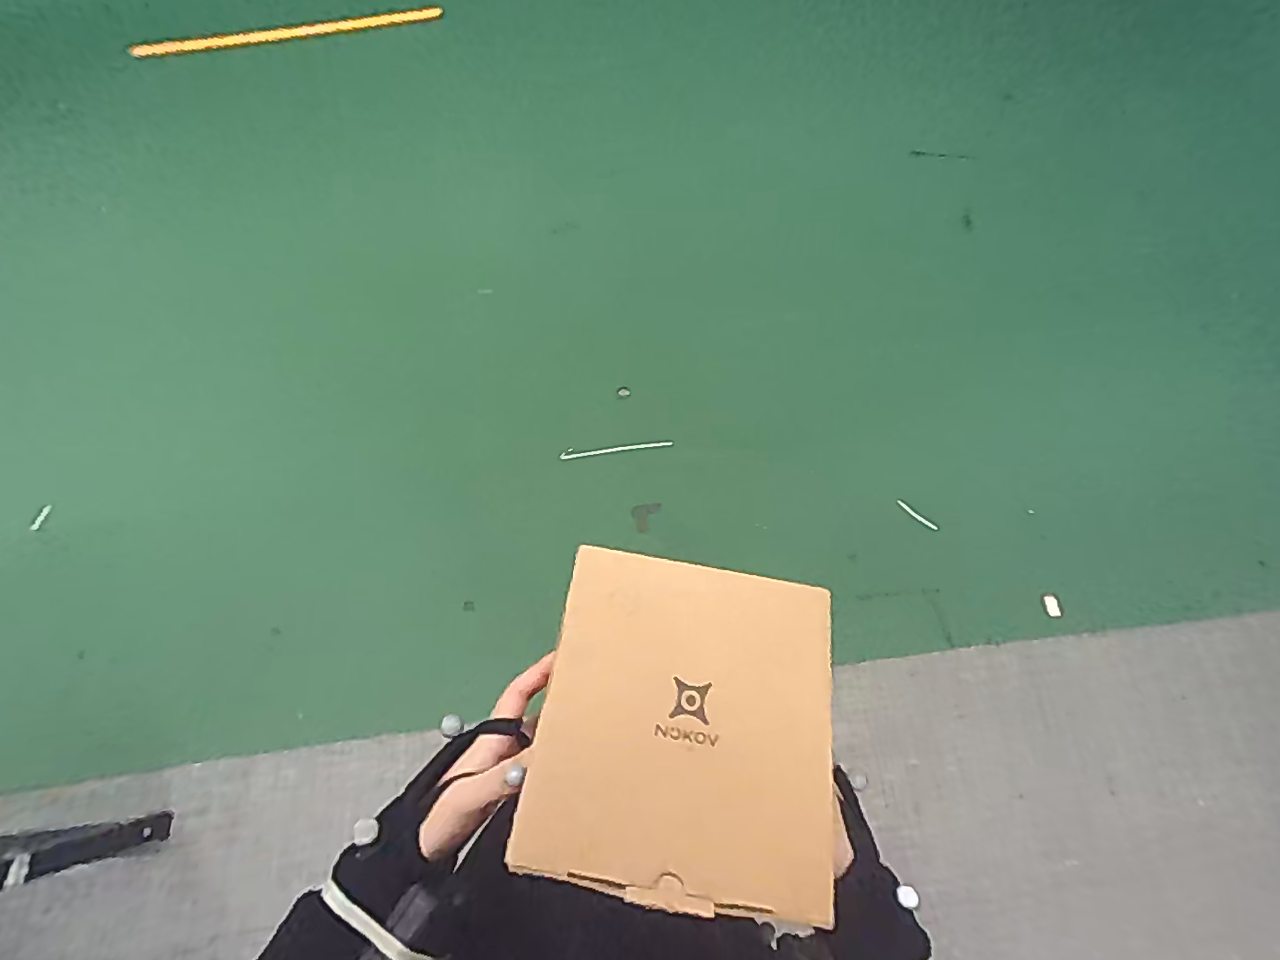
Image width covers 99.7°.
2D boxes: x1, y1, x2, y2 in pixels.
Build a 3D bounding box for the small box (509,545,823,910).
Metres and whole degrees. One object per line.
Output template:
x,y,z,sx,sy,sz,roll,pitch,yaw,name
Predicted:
0.016,0.168,0.383,0.168,0.176,0.179,9,61,-1,small box
